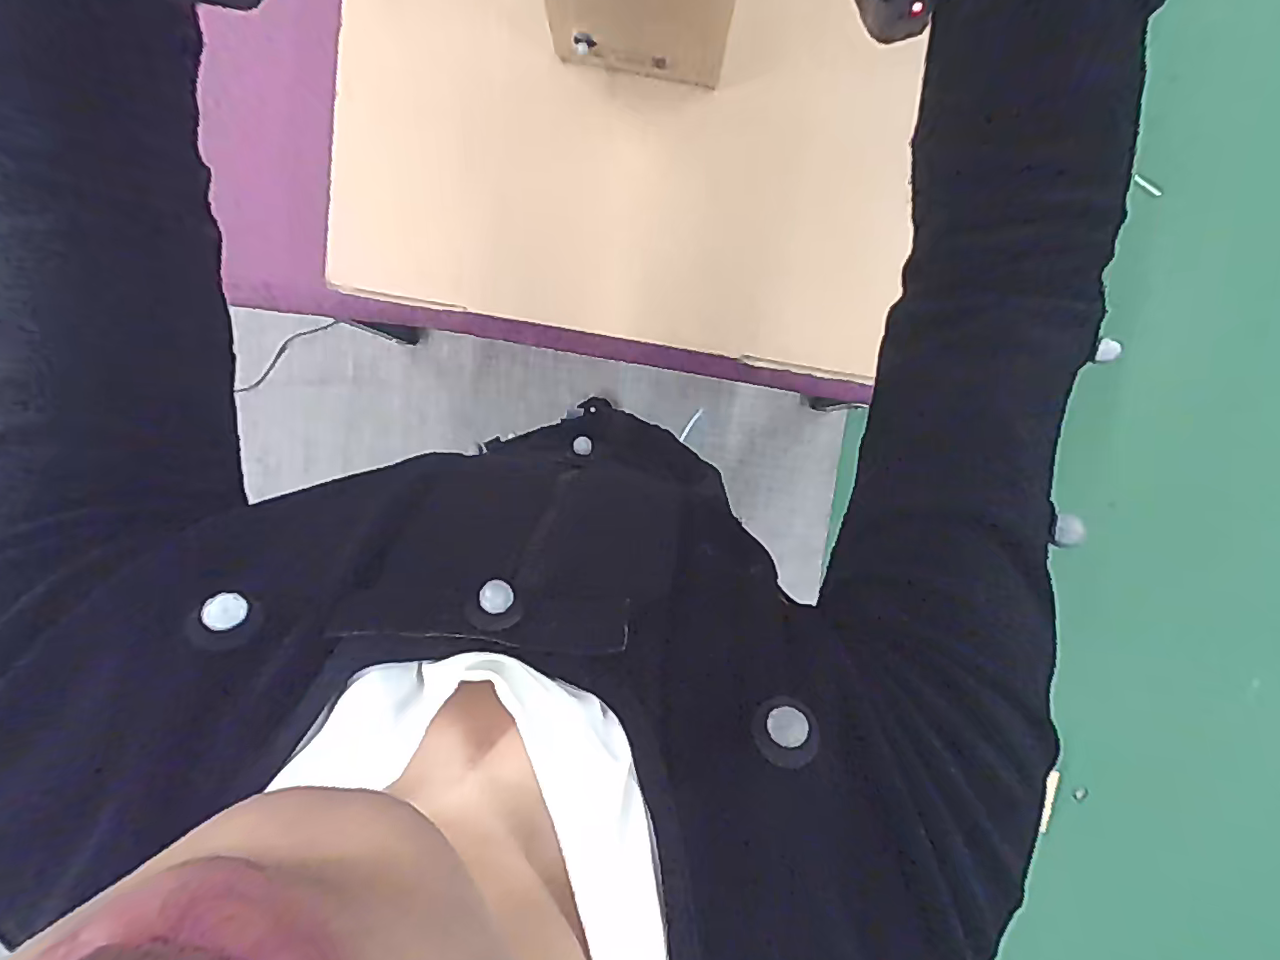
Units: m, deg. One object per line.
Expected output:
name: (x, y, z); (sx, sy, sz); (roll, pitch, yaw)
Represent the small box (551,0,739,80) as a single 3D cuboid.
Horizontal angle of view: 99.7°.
small box: (0.014, -0.481, 0.448); (0.168, 0.176, 0.179); (11, 93, -1)
